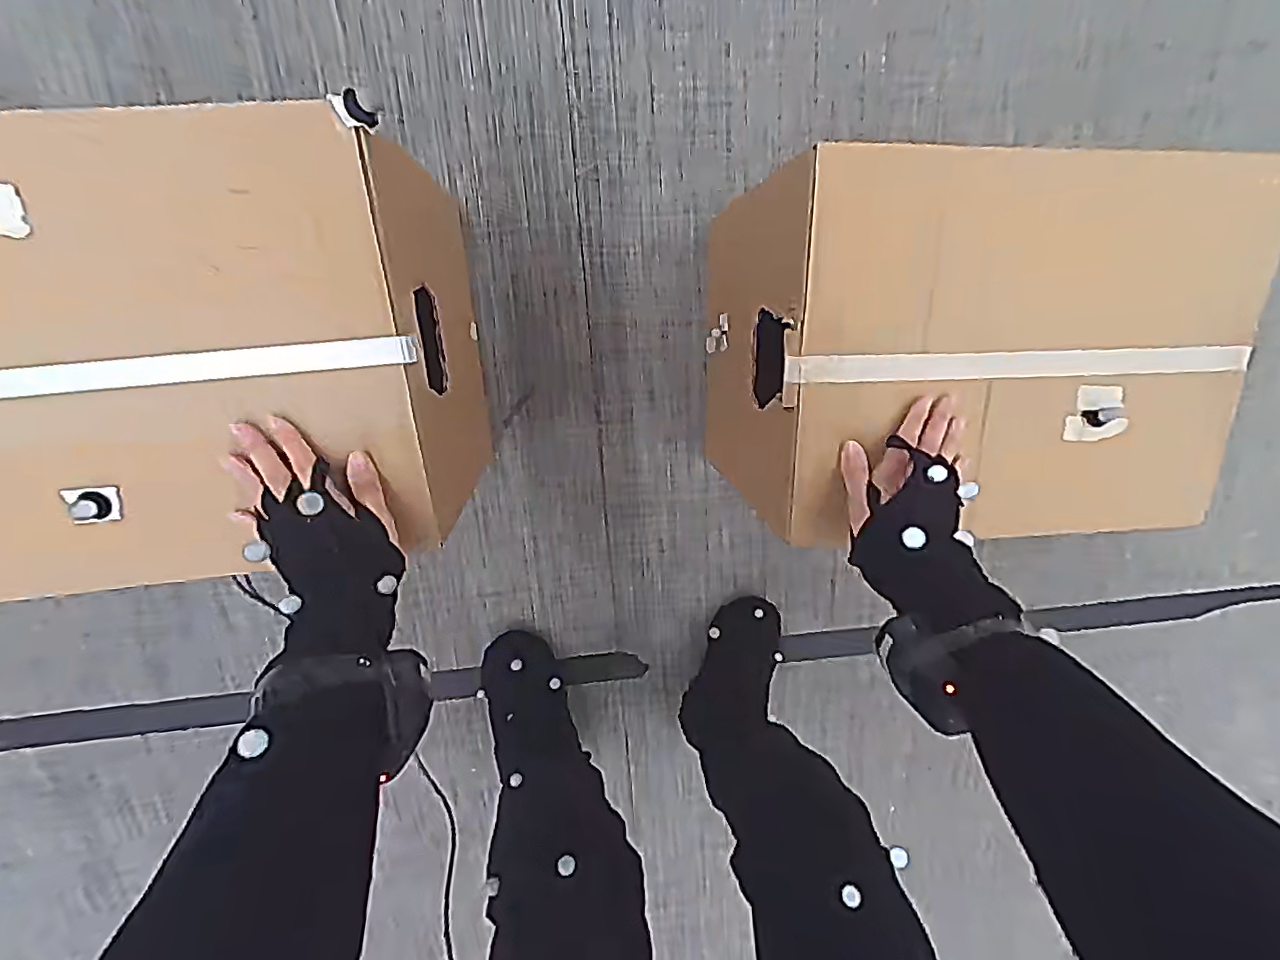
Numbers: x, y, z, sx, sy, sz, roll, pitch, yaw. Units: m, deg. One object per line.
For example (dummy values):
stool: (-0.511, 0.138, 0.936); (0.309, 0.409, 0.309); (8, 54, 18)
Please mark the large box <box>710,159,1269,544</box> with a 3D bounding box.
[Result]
large box: (0.308, -0.141, 0.606); (0.408, 0.320, 0.320); (-3, 107, -7)
